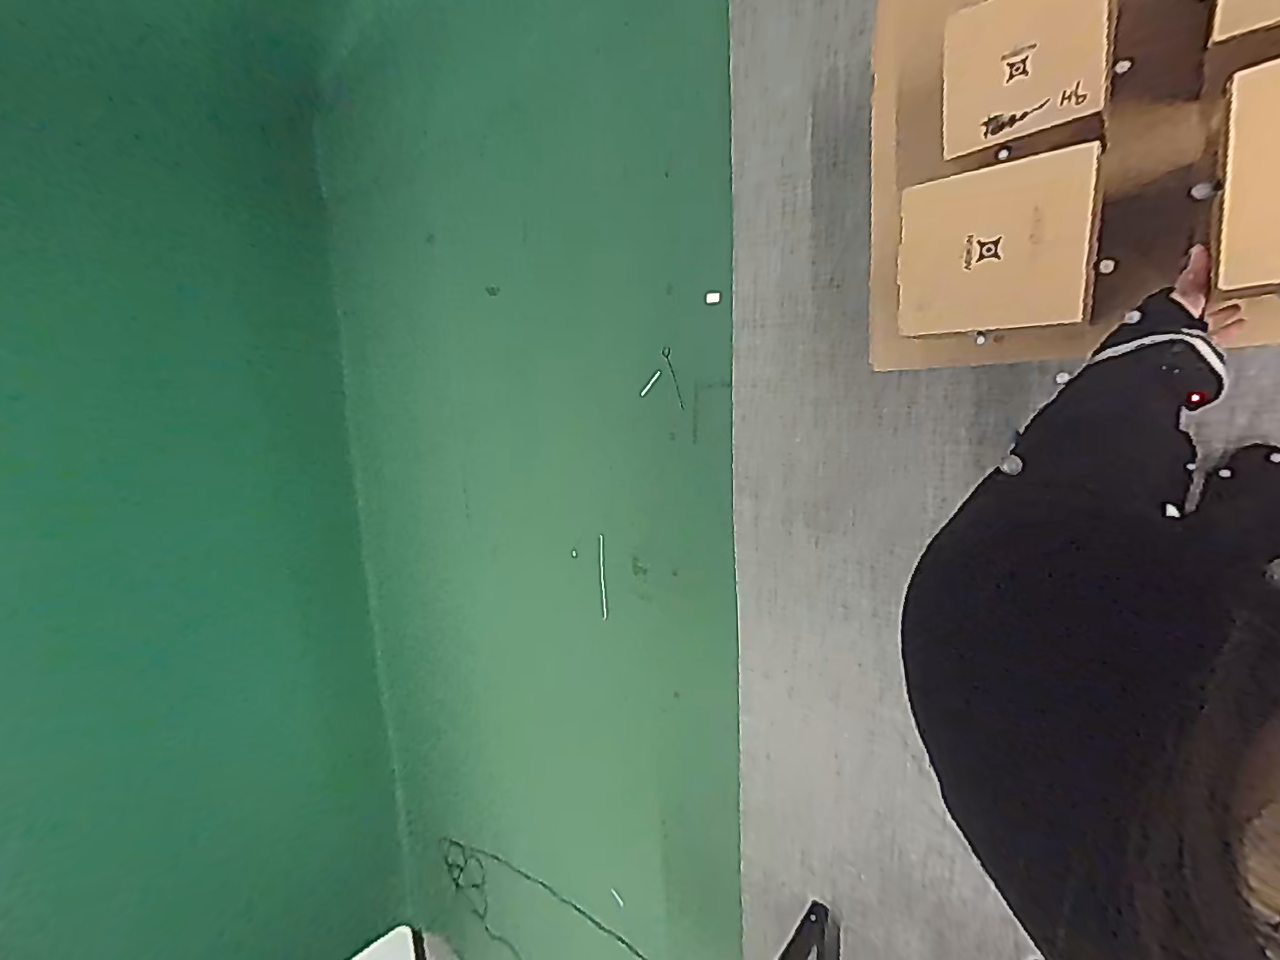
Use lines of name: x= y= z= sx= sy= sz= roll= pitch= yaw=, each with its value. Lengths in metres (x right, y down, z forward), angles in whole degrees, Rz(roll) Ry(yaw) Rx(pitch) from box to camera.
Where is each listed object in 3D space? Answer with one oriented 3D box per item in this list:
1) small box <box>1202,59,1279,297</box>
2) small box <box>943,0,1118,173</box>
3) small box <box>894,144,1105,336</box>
small box: x=0.609 y=-0.260 z=0.463 sx=0.168 sy=0.176 sz=0.179 roll=4 pitch=101 yaw=44
small box: x=0.518 y=-0.521 z=0.717 sx=0.168 sy=0.176 sz=0.179 roll=4 pitch=100 yaw=44
small box: x=0.422 y=-0.260 z=0.638 sx=0.179 sy=0.176 sz=0.168 roll=8 pitch=105 yaw=41
